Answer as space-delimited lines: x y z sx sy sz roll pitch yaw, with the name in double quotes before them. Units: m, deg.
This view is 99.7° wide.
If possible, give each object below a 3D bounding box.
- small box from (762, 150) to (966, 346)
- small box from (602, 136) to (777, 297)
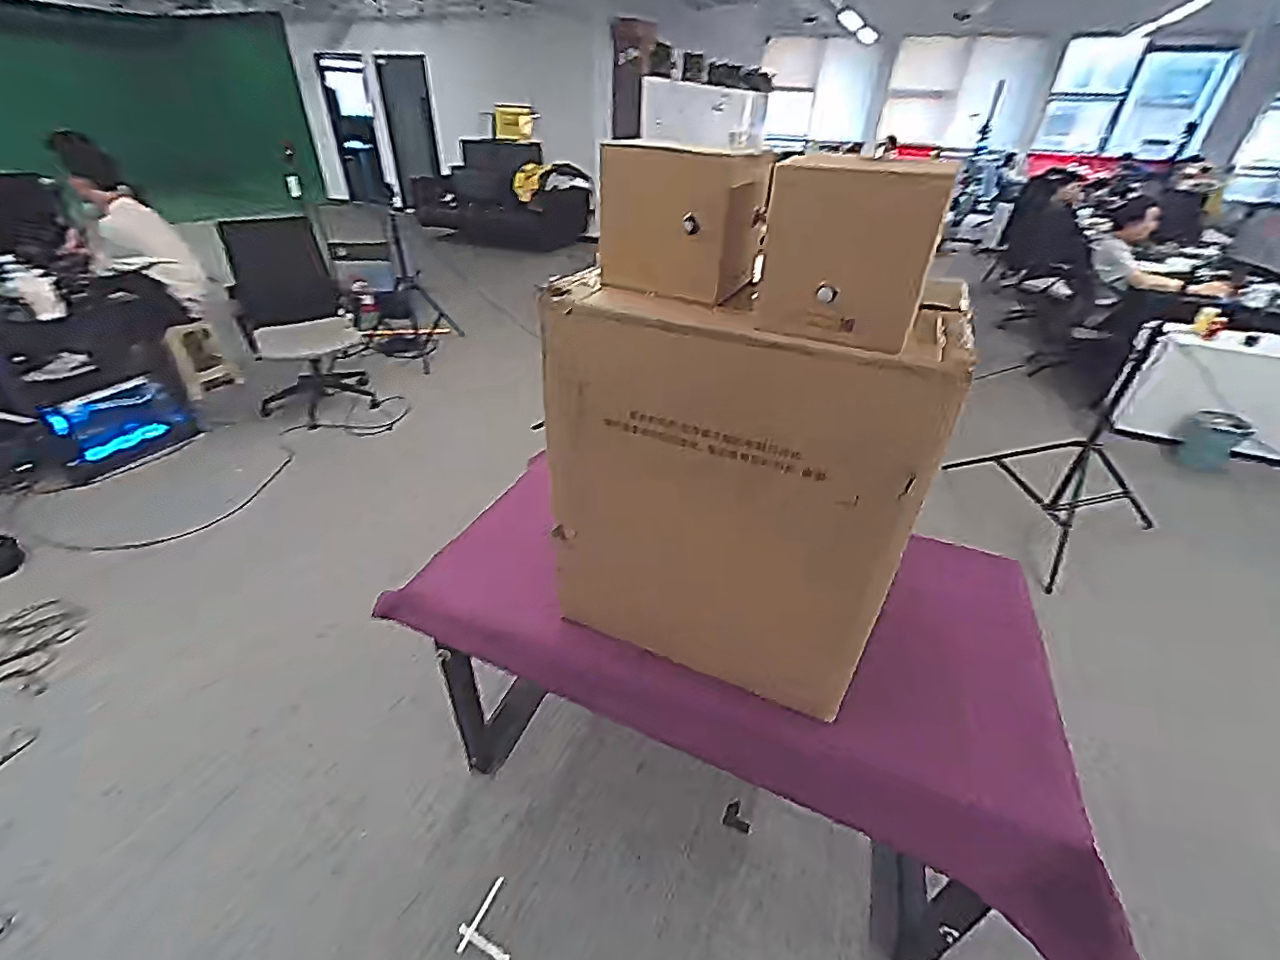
"small box" 0.247 -0.267 0.609 0.168 0.176 0.179 17 37 22
"small box" 0.063 -0.352 0.721 0.179 0.176 0.168 17 36 20
